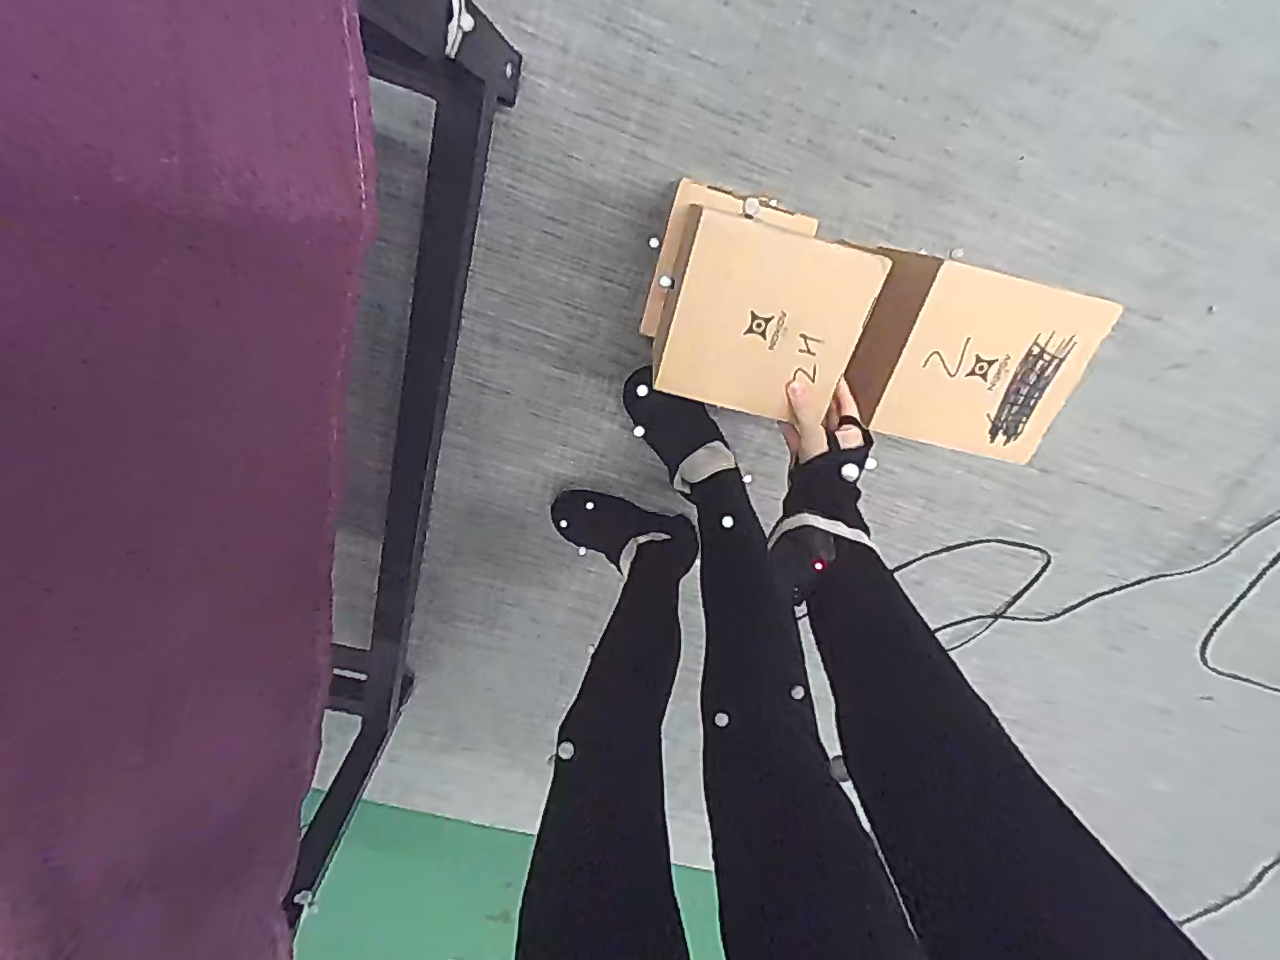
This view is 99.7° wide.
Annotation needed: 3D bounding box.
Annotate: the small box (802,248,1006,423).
[{"bbox_3d":[0.337,-0.202,0.737,0.168,0.176,0.179,12,117,-5],"label":"small box"}]
